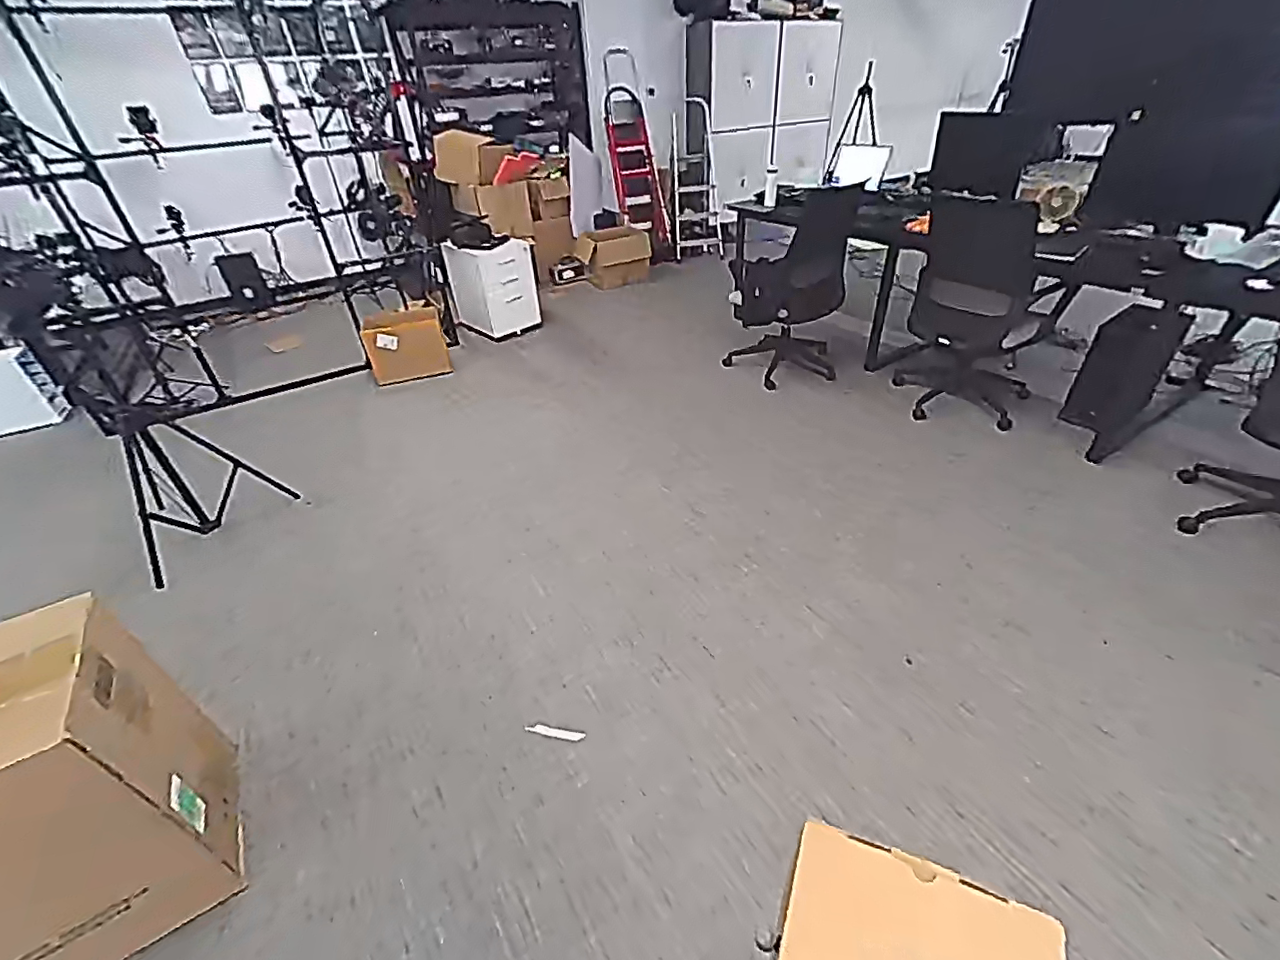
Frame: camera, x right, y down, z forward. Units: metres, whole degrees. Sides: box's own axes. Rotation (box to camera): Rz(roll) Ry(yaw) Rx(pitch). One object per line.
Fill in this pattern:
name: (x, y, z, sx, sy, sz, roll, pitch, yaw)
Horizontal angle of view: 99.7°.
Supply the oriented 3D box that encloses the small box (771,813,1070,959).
small box: (0.174, 0.379, 0.376, 0.168, 0.176, 0.179, 12, 48, 21)
